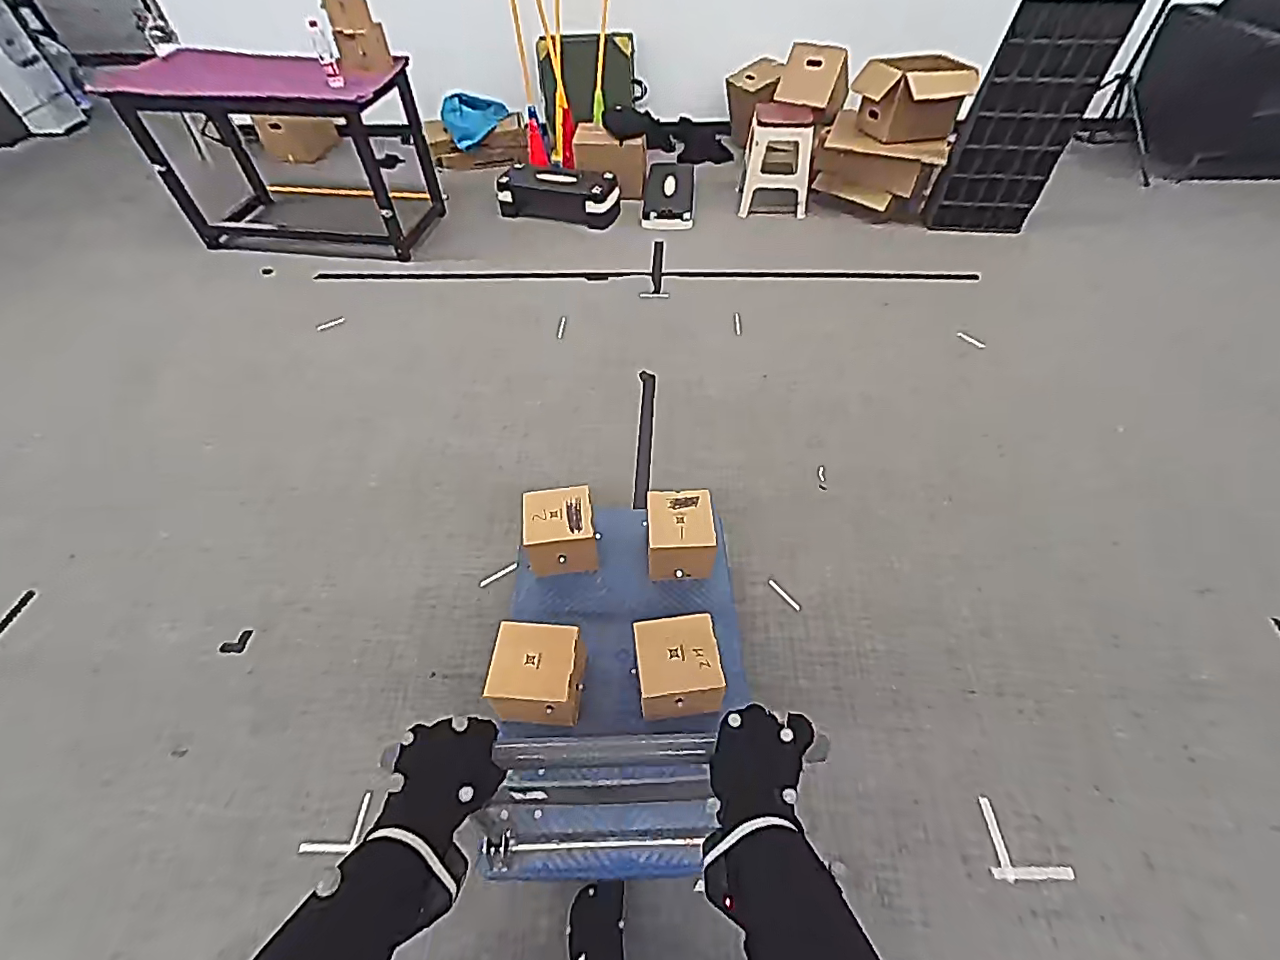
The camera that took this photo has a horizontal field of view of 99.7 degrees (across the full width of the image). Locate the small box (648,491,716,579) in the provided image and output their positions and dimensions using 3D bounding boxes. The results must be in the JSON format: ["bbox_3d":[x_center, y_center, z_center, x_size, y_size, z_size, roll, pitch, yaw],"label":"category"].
[{"bbox_3d":[0.106,0.148,1.439,0.168,0.176,0.179,-1,52,0],"label":"small box"}]

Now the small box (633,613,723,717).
[{"bbox_3d":[0.081,0.420,1.216,0.179,0.176,0.168,-6,51,-3],"label":"small box"}]

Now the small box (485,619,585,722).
[{"bbox_3d":[-0.226,0.431,1.215,0.179,0.176,0.168,4,50,2],"label":"small box"}]
